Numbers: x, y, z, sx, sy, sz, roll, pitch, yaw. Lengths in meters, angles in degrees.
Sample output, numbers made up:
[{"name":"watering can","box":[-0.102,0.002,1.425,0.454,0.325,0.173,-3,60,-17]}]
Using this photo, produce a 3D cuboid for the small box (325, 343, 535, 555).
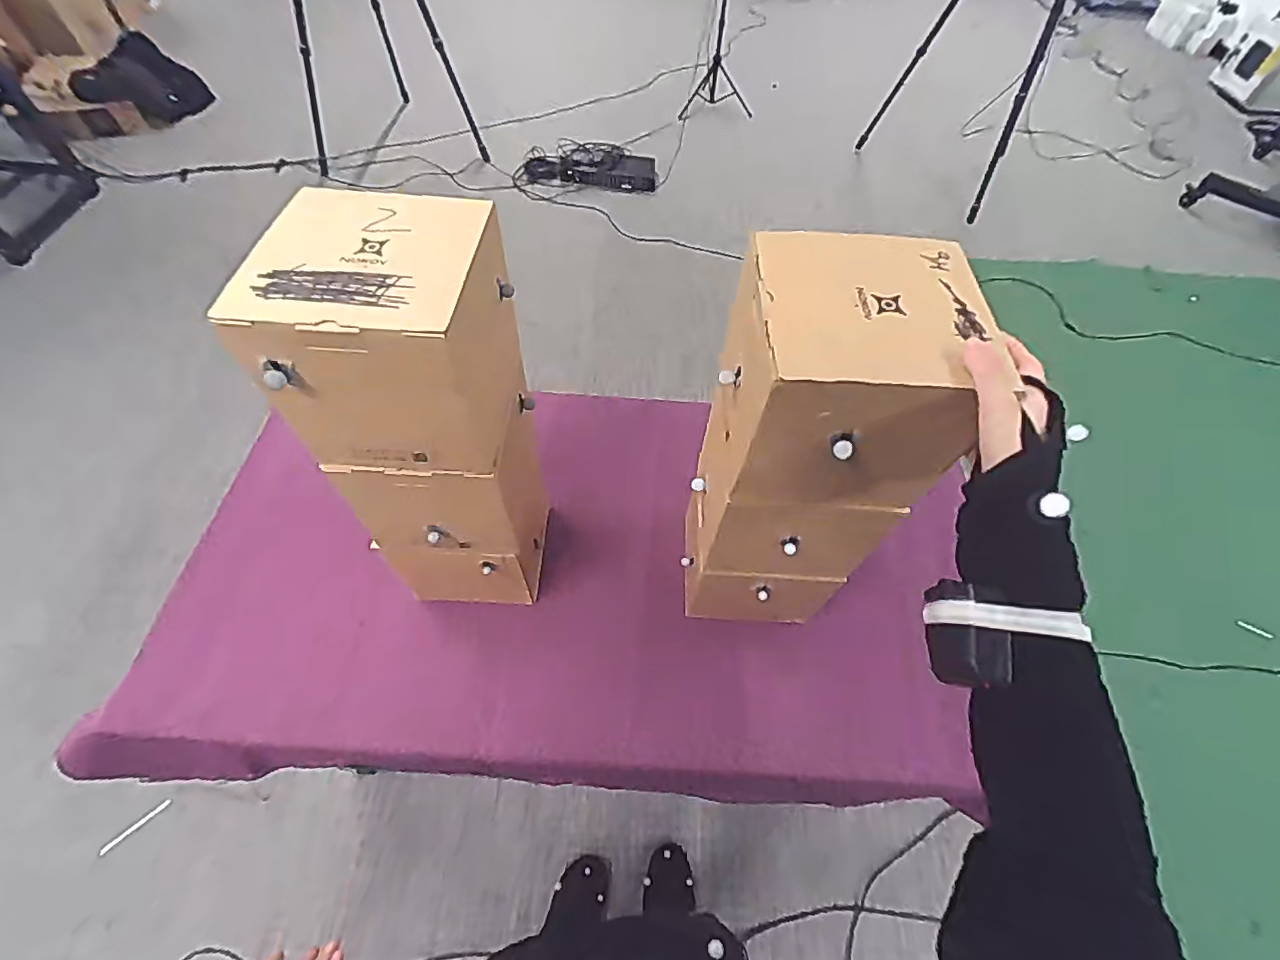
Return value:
[{"name":"small box","box":[-0.219,-0.032,0.622,0.168,0.176,0.179,2,55,-1]}]

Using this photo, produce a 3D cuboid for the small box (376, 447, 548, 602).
[{"name":"small box","box":[-0.232,0.063,0.757,0.179,0.176,0.168,3,56,-2]}]

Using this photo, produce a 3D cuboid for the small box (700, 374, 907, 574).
[{"name":"small box","box":[0.166,-0.001,0.615,0.179,0.176,0.168,3,58,0]}]

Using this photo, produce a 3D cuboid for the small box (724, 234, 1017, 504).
[{"name":"small box","box":[0.173,-0.089,0.478,0.179,0.176,0.168,3,59,-2]}]

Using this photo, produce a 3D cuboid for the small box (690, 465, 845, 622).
[{"name":"small box","box":[0.161,0.092,0.754,0.179,0.176,0.168,2,58,0]}]
